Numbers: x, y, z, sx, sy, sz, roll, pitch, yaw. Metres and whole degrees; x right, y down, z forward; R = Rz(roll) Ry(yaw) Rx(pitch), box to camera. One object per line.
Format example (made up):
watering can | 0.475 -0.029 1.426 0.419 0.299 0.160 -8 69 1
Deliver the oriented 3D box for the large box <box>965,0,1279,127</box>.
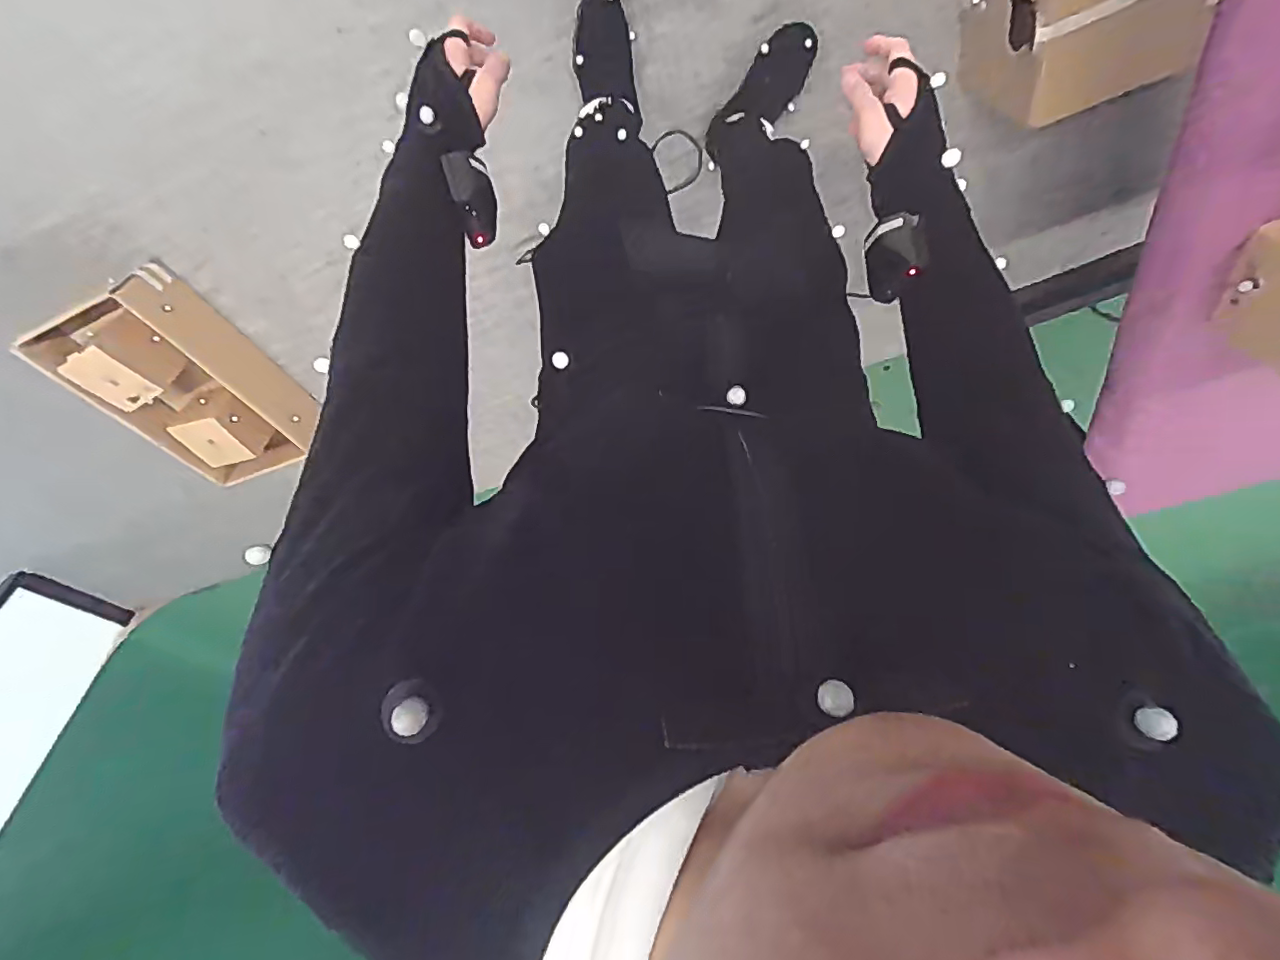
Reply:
large box | 0.833 -0.900 0.924 0.408 0.320 0.320 -18 137 15

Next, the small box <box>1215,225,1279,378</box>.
small box | 0.910 -0.239 0.677 0.179 0.176 0.168 -17 136 14

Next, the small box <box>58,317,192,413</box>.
small box | -1.401 -0.322 1.485 0.168 0.176 0.179 -20 136 18
